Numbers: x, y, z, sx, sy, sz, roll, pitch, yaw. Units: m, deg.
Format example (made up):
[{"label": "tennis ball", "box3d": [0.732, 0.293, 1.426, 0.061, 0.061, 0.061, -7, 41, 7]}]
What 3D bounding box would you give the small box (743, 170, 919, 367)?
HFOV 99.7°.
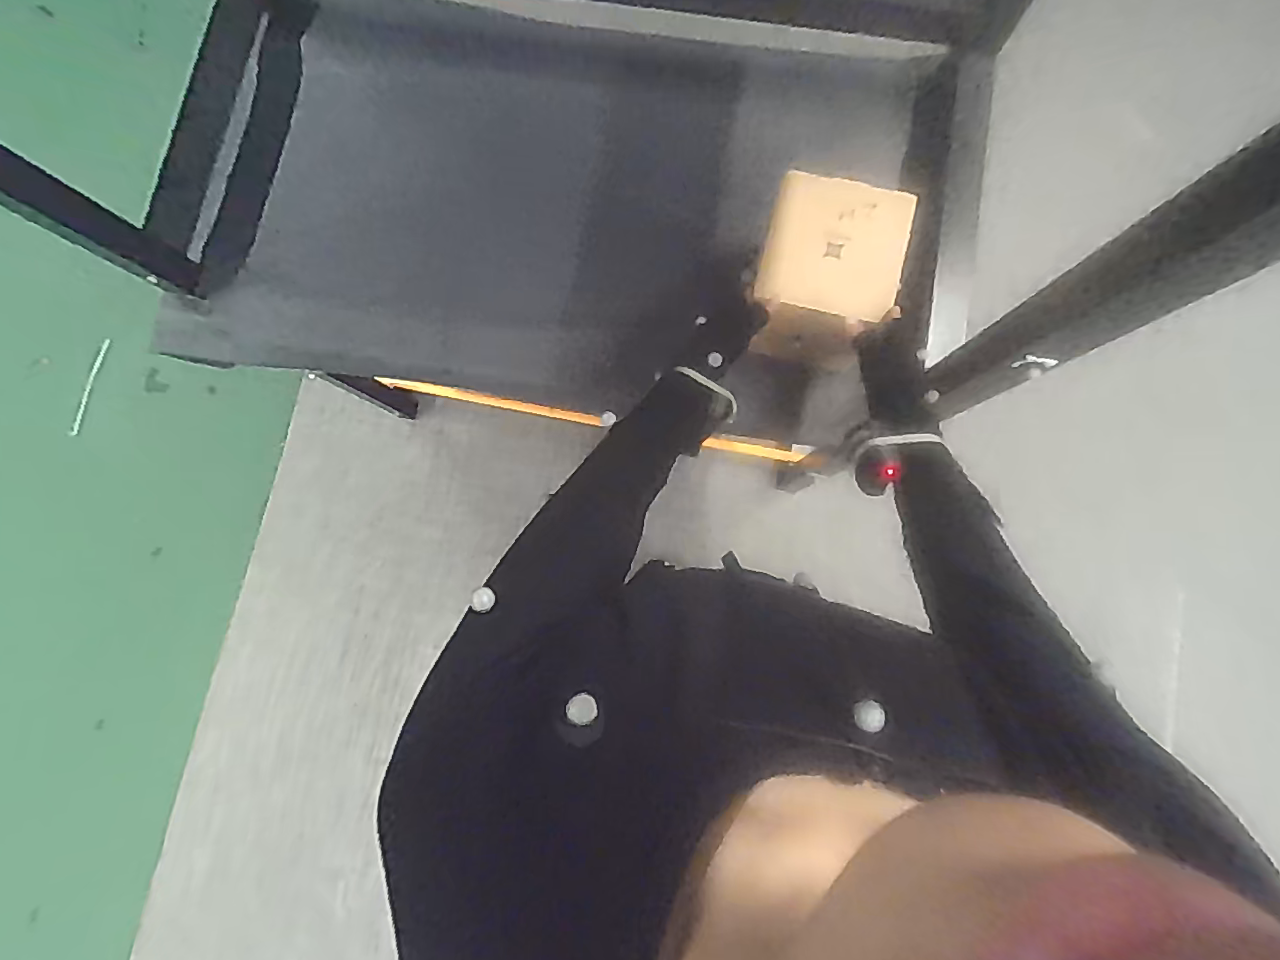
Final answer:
[{"label": "small box", "box3d": [0.244, -0.272, 0.734, 0.168, 0.176, 0.179, 15, 83, 5]}]
